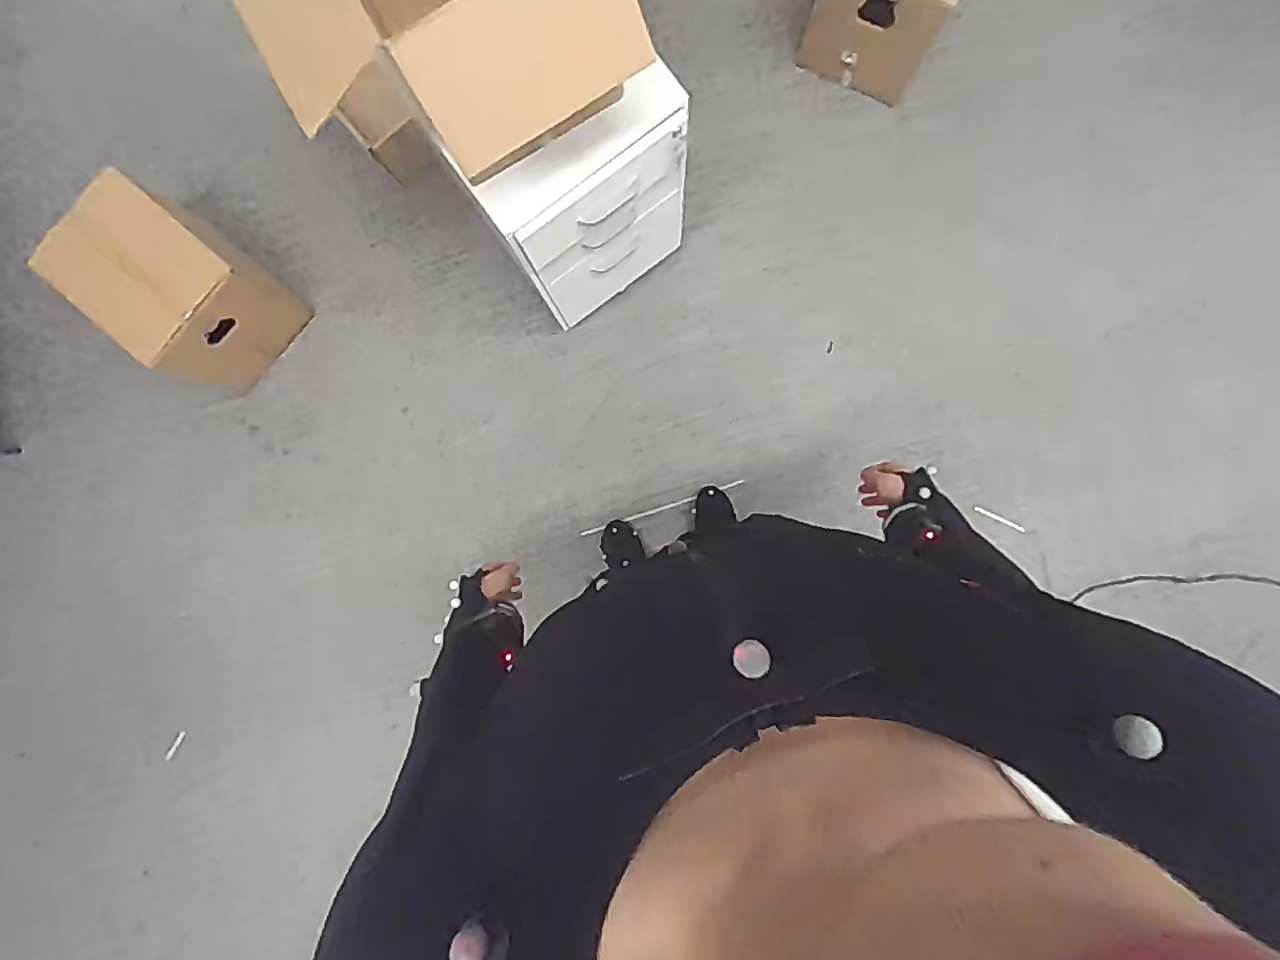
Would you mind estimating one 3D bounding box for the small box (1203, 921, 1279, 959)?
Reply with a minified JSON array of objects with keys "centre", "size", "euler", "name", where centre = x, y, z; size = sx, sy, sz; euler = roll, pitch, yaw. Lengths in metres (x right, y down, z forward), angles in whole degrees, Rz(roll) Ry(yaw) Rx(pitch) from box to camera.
[{"centre":[1.515,1.211,1.292],"size":[0.179,0.176,0.168],"euler":[14,88,3],"name":"small box"}]
